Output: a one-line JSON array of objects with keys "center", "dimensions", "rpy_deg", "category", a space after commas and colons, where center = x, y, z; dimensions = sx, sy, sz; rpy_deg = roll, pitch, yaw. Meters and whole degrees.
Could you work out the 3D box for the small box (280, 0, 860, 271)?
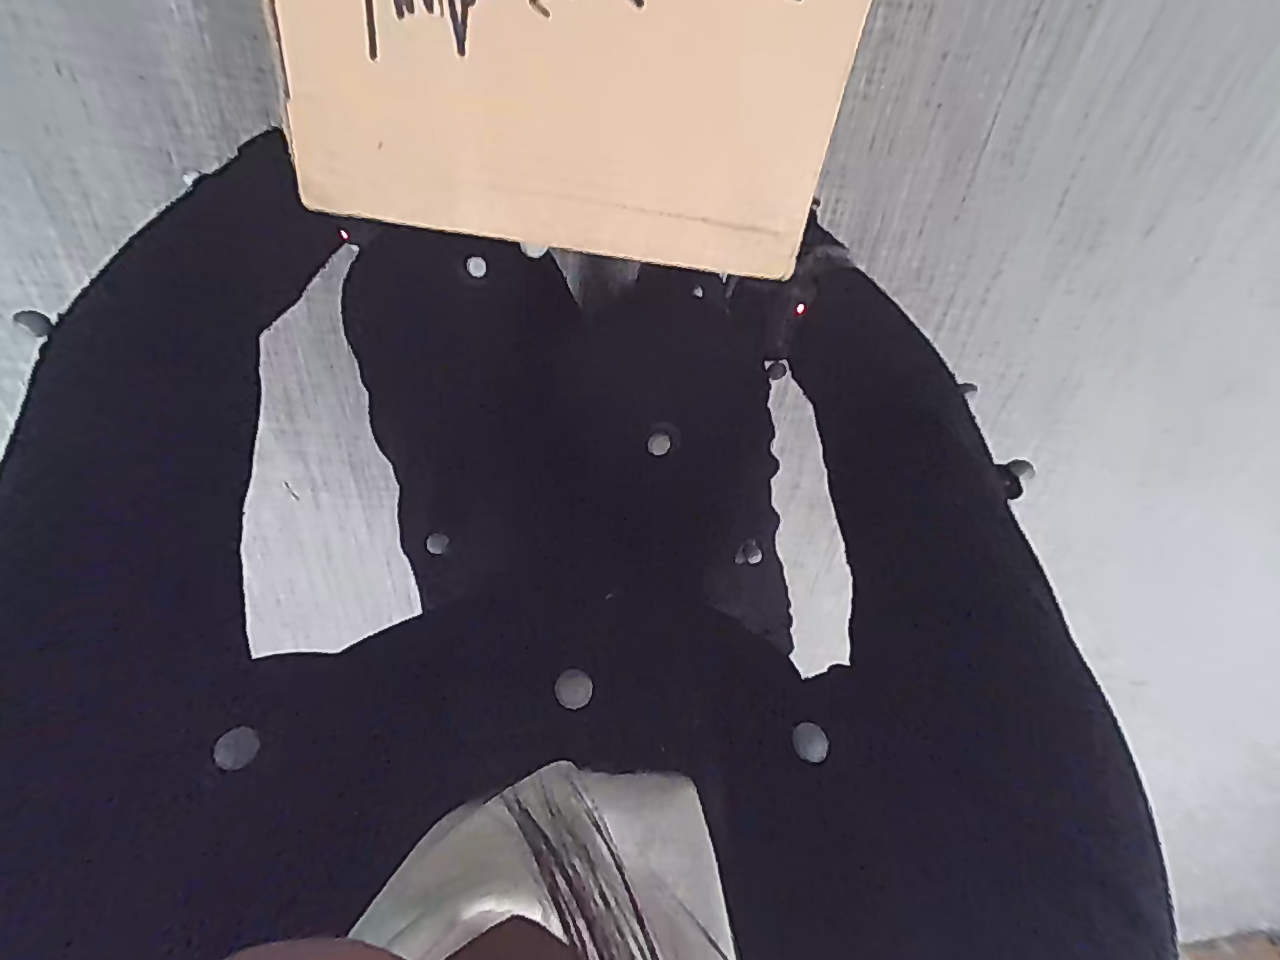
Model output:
[{"center": [-0.020, -0.202, 0.221], "dimensions": [0.179, 0.176, 0.168], "rpy_deg": [7, 124, -7], "category": "small box"}]
